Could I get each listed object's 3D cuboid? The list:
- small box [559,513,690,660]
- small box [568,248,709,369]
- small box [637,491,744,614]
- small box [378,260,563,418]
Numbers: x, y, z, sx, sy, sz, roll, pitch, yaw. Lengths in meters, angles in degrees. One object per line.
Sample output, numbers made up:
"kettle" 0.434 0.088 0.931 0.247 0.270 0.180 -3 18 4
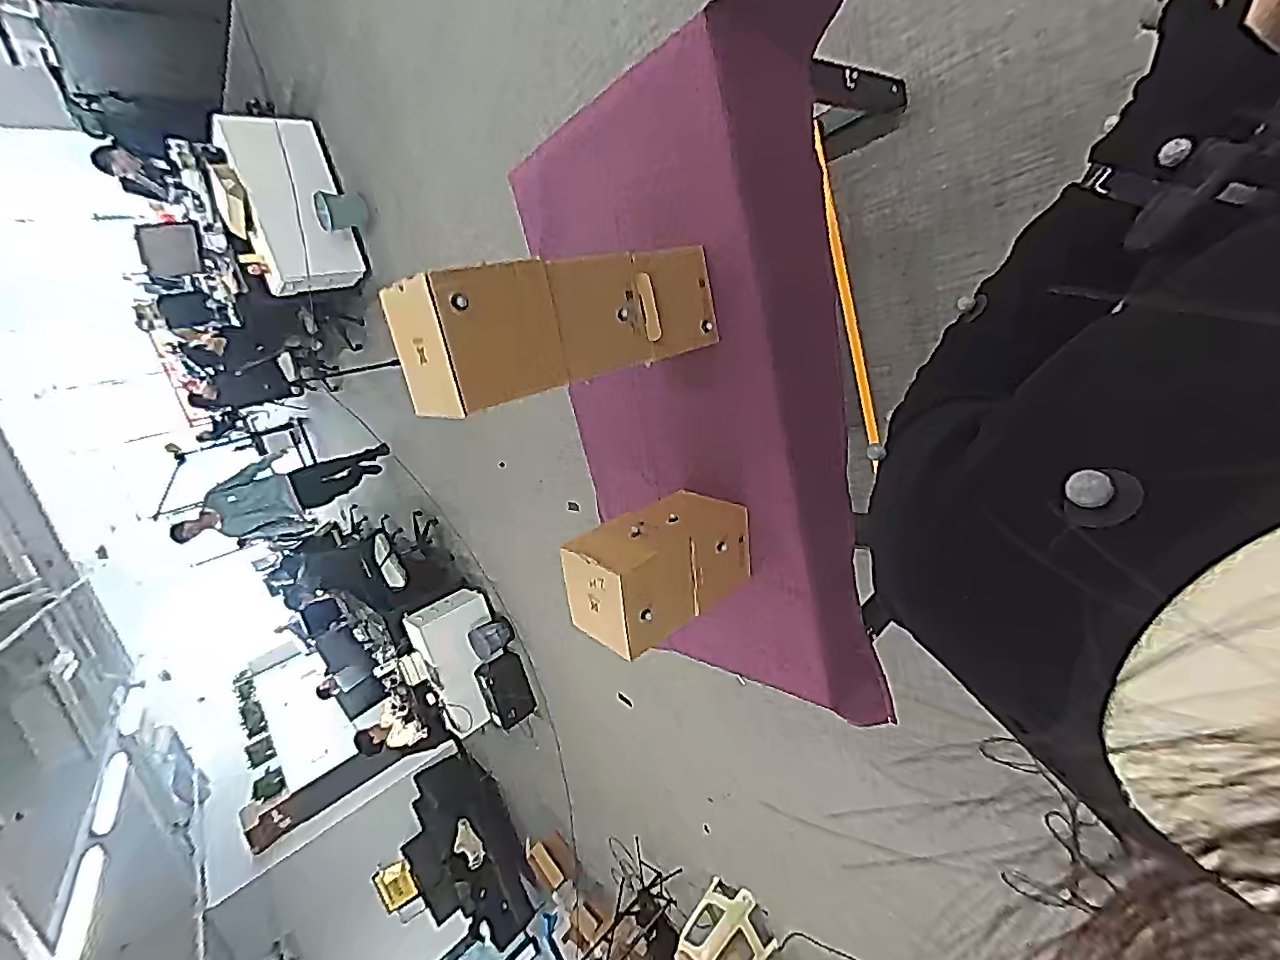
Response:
"small box" -0.022 0.184 0.988 0.168 0.176 0.179 17 121 43
"small box" 0.005 -0.300 0.952 0.179 0.176 0.168 6 115 49
"small box" 0.098 0.135 1.088 0.179 0.176 0.168 16 121 45
"small box" -0.228 -0.194 0.749 0.168 0.176 0.179 9 116 47
